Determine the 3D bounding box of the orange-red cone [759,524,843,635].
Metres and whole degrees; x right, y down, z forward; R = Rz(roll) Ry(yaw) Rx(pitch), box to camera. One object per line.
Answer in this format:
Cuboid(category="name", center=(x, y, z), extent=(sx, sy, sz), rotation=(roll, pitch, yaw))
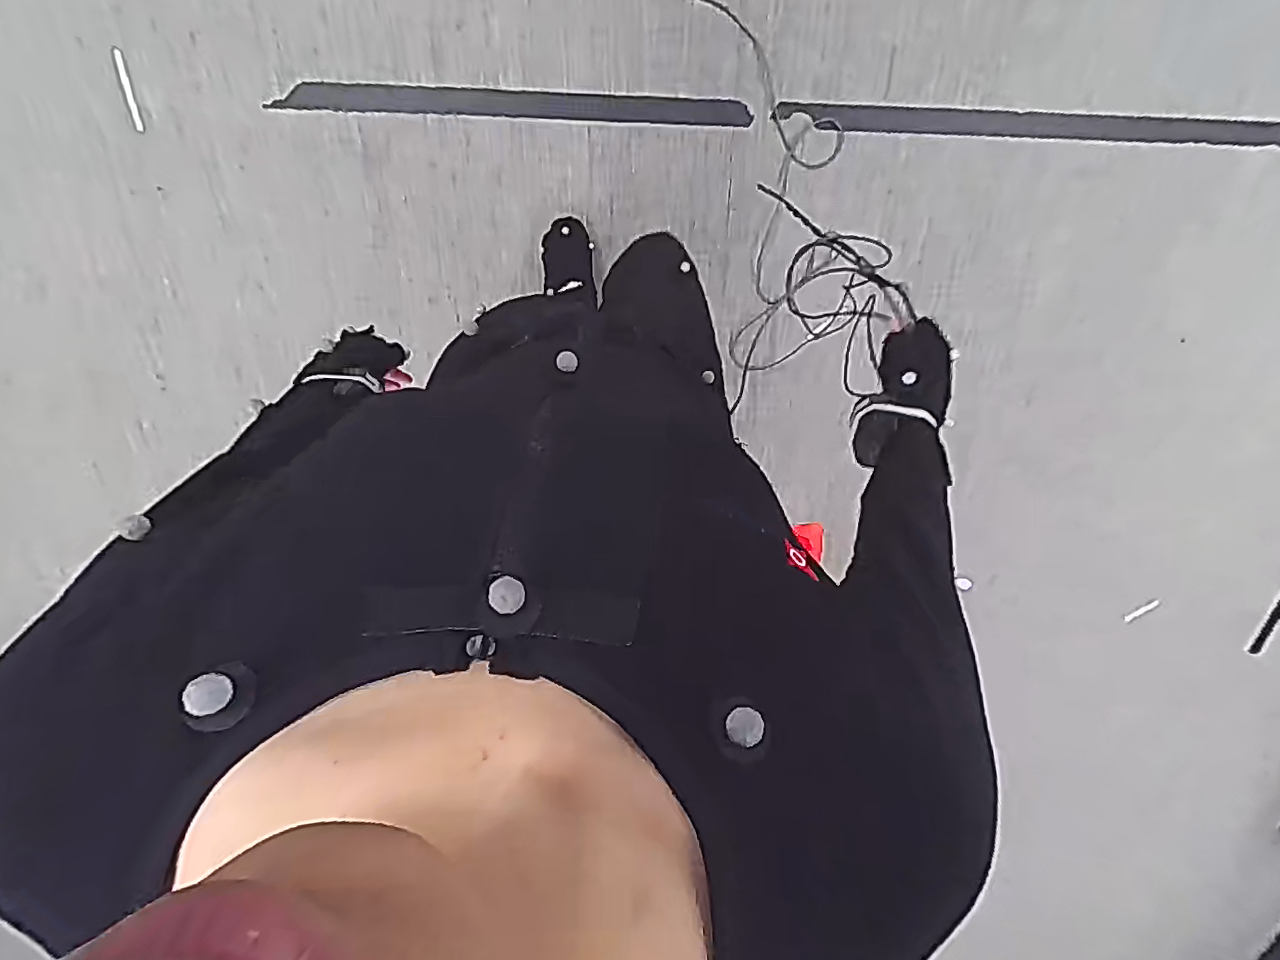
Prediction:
Cuboid(category="orange-red cone", center=(0.481, 0.299, 1.513), extent=(0.199, 0.360, 0.198), rotation=(-5, 116, -3))
